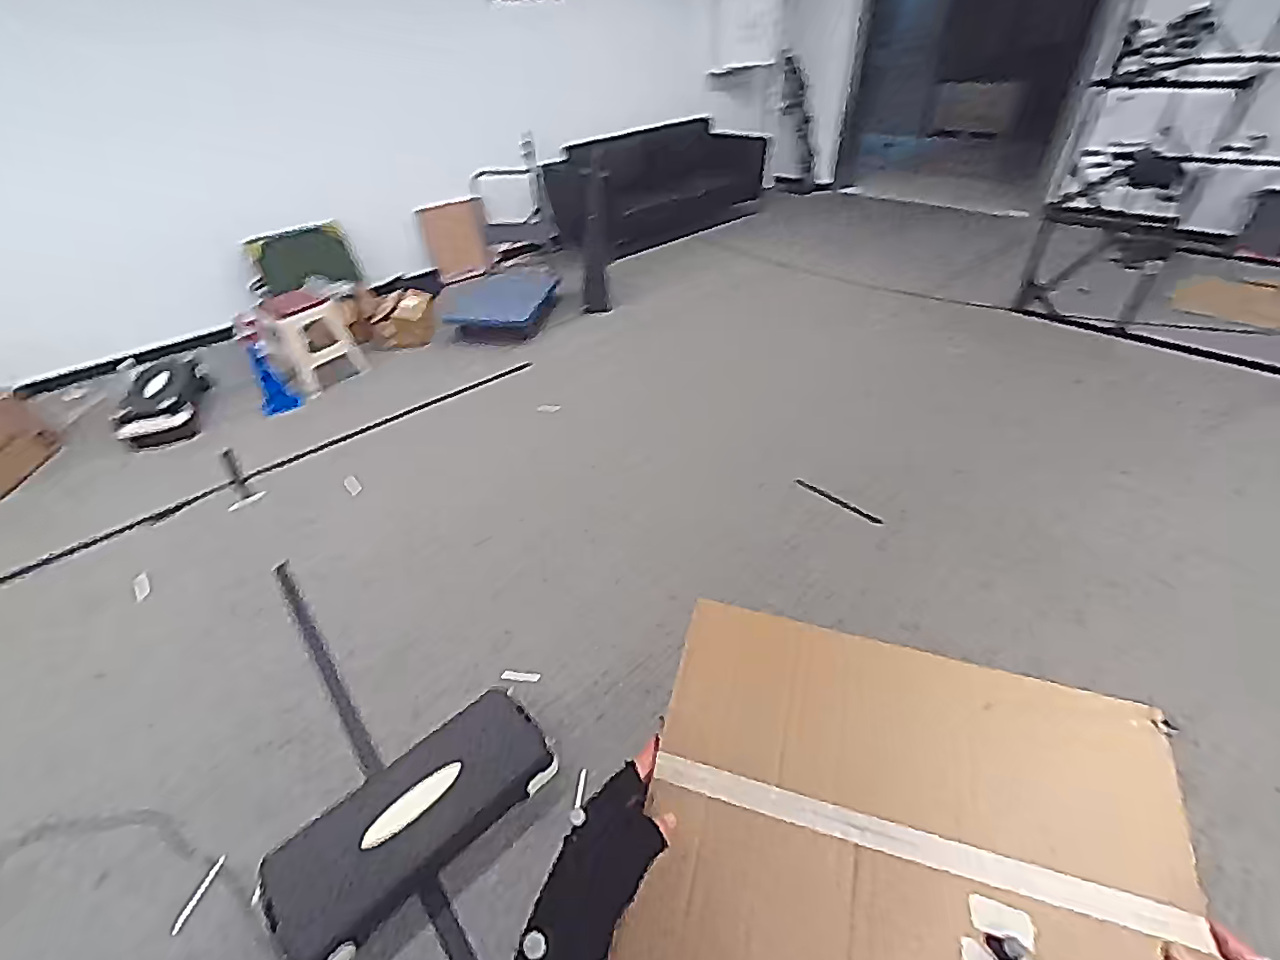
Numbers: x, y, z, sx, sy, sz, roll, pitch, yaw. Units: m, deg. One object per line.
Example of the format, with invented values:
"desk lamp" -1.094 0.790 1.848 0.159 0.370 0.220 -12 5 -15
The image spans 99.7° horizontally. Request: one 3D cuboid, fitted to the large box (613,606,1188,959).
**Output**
"large box" 0.211 0.366 0.558 0.408 0.320 0.320 10 58 11
